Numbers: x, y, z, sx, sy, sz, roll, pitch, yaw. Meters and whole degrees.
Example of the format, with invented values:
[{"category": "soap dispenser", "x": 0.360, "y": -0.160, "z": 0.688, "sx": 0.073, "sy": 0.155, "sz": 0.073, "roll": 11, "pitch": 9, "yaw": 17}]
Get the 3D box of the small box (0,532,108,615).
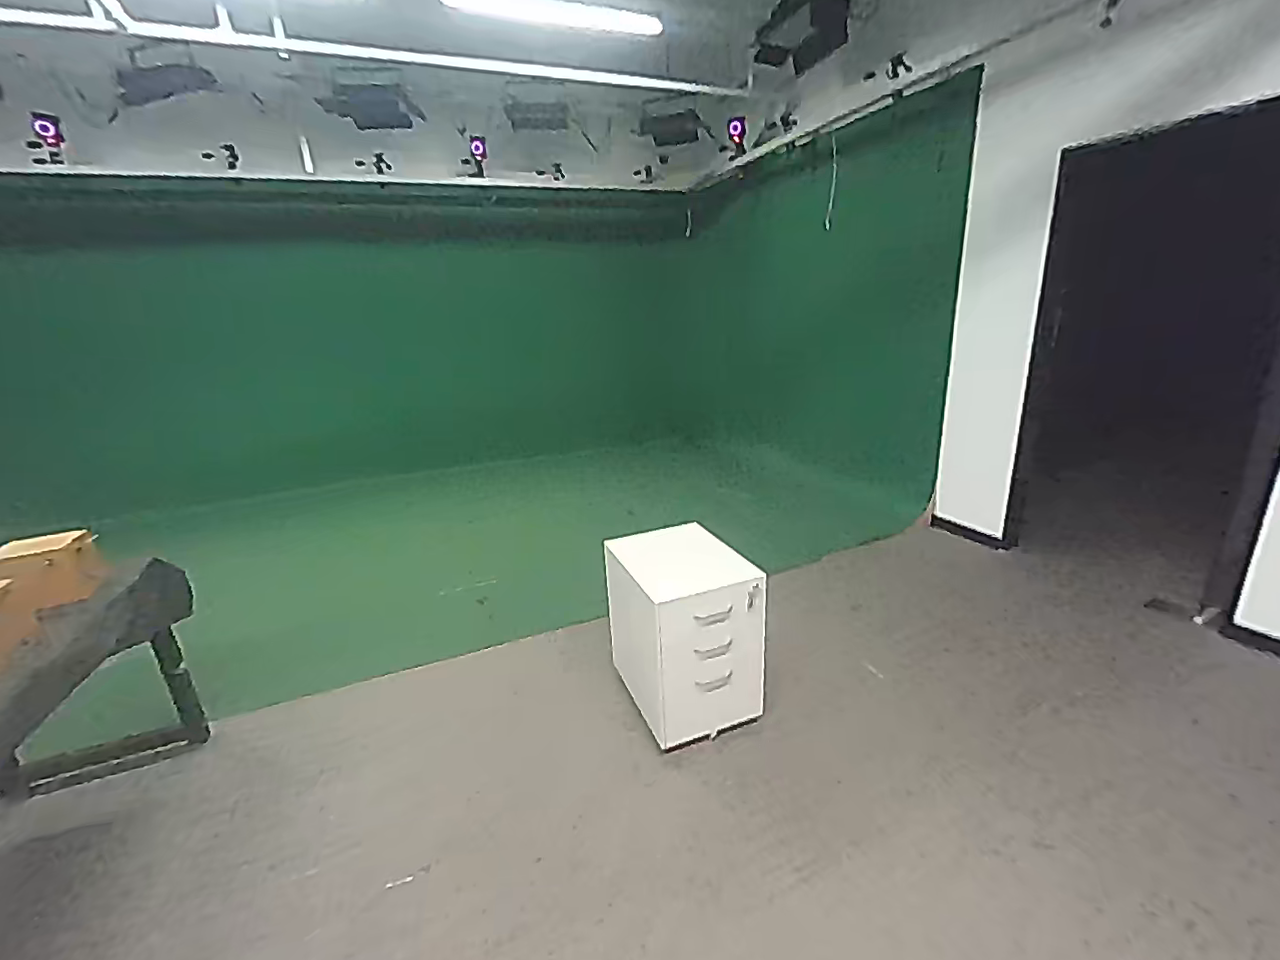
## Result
[{"category": "small box", "x": -1.710, "y": 0.271, "z": 1.568, "sx": 0.179, "sy": 0.176, "sz": 0.168, "roll": -11, "pitch": 19, "yaw": -25}]
